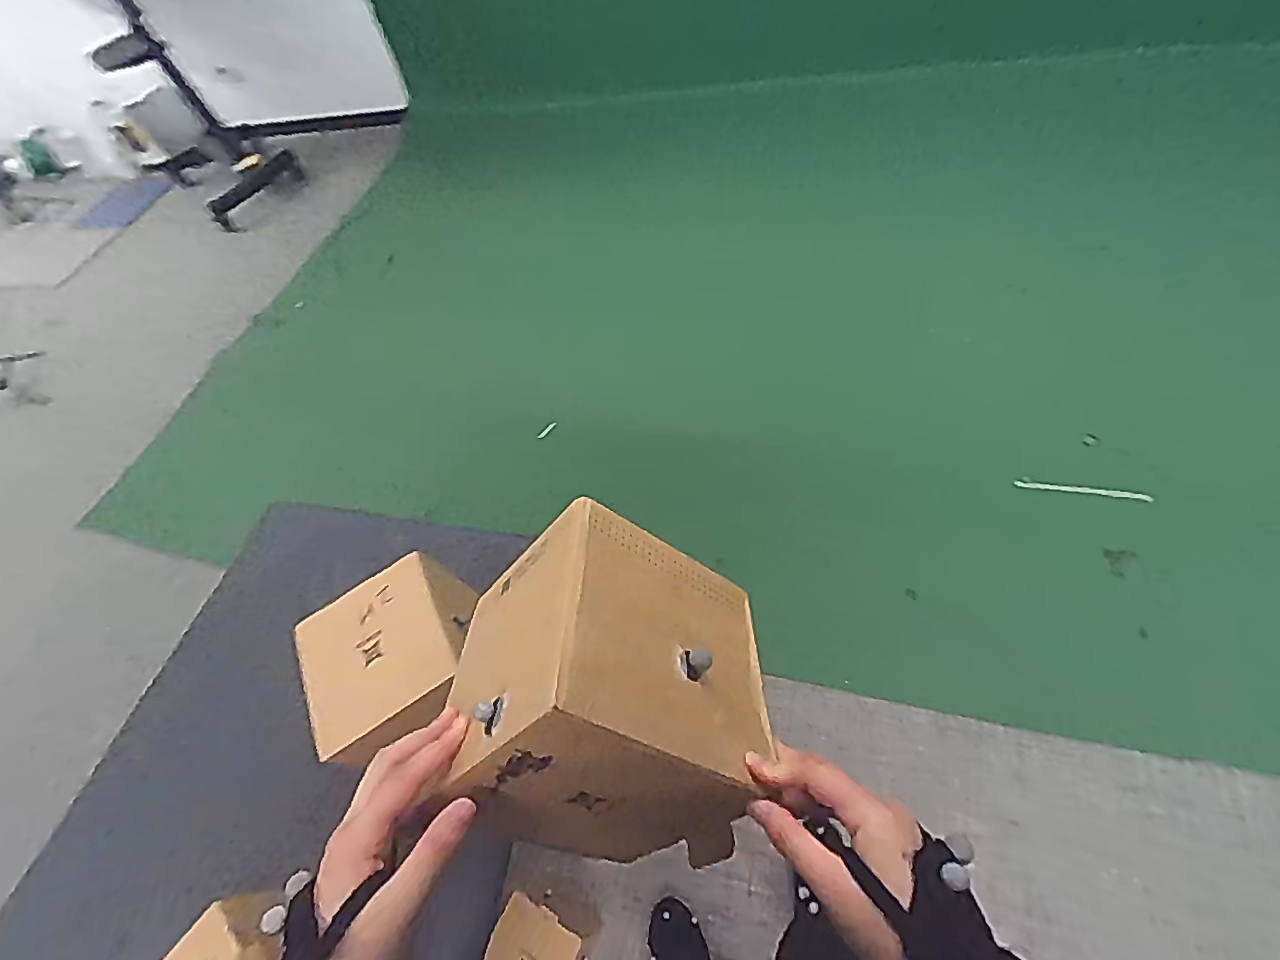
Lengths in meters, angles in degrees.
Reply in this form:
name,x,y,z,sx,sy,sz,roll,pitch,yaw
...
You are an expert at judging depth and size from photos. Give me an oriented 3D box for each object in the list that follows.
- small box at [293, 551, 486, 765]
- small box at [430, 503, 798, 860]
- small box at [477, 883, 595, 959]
name,x,y,z,sx,sy,sz,roll,pitch,yaw
small box,-0.279,0.224,0.663,0.168,0.176,0.179,-32,57,-6
small box,-0.016,0.147,0.399,0.168,0.179,0.176,-44,26,30
small box,-0.204,0.942,1.074,0.168,0.176,0.179,19,65,23
